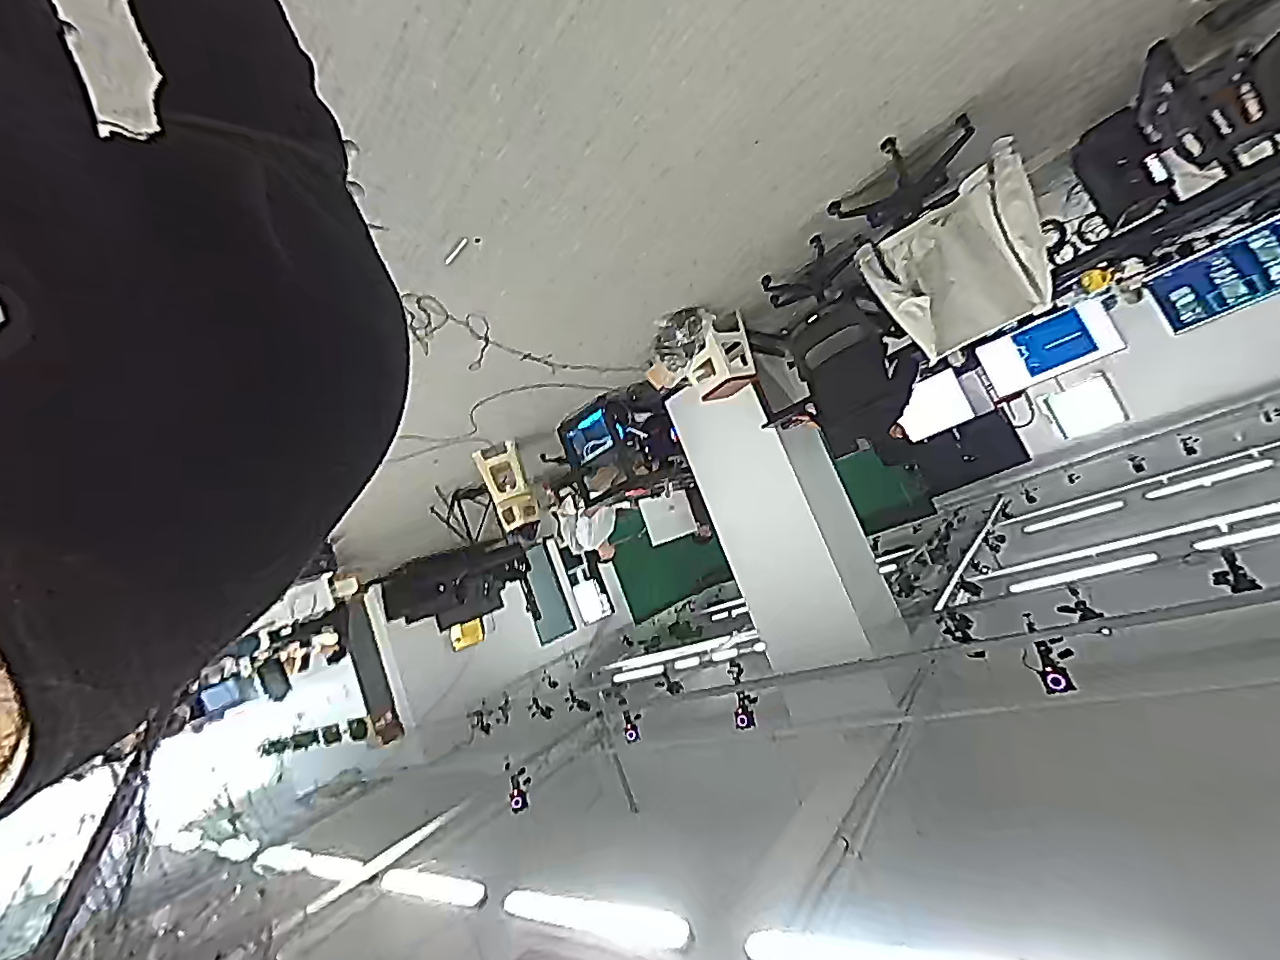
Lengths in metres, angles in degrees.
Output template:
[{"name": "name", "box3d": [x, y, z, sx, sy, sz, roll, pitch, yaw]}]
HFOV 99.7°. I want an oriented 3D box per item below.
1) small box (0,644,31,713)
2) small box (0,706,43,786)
[{"name": "small box", "box3d": [-1.699, 0.535, 1.382, 0.179, 0.176, 0.168, -27, 171, 37]}, {"name": "small box", "box3d": [-1.639, 0.687, 1.354, 0.179, 0.176, 0.168, -28, 170, 36]}]
